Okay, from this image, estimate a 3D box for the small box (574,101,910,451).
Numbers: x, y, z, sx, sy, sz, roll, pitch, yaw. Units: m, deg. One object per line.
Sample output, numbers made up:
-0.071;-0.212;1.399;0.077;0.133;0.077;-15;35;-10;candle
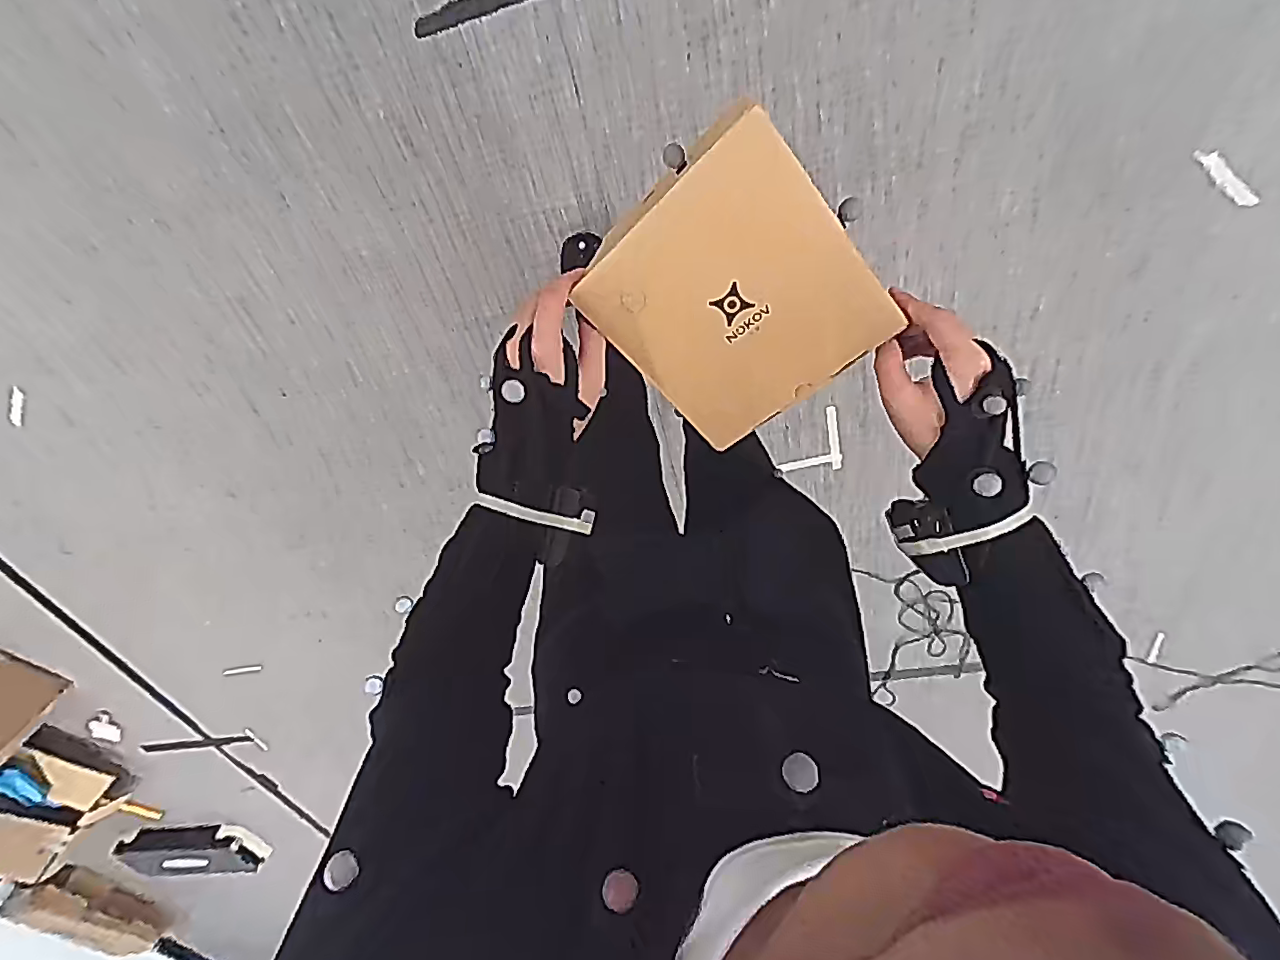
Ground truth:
0.075;-0.164;0.435;0.168;0.176;0.179;-35;117;28;small box
